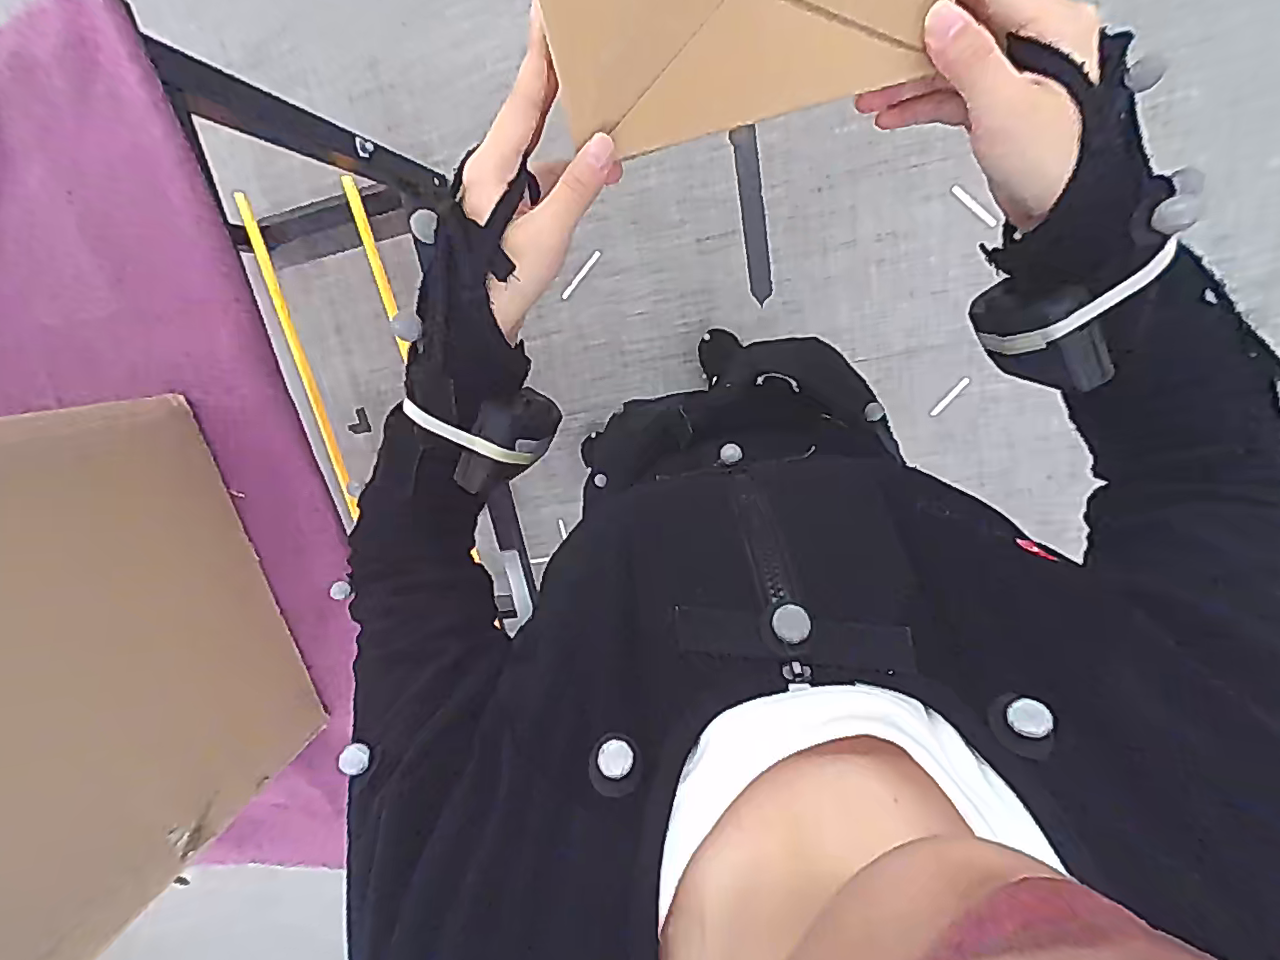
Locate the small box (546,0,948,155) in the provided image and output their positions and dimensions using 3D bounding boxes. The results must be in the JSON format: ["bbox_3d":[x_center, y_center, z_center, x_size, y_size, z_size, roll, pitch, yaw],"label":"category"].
[{"bbox_3d":[0.038,-0.285,0.285,0.179,0.176,0.168,-10,123,10],"label":"small box"}]
